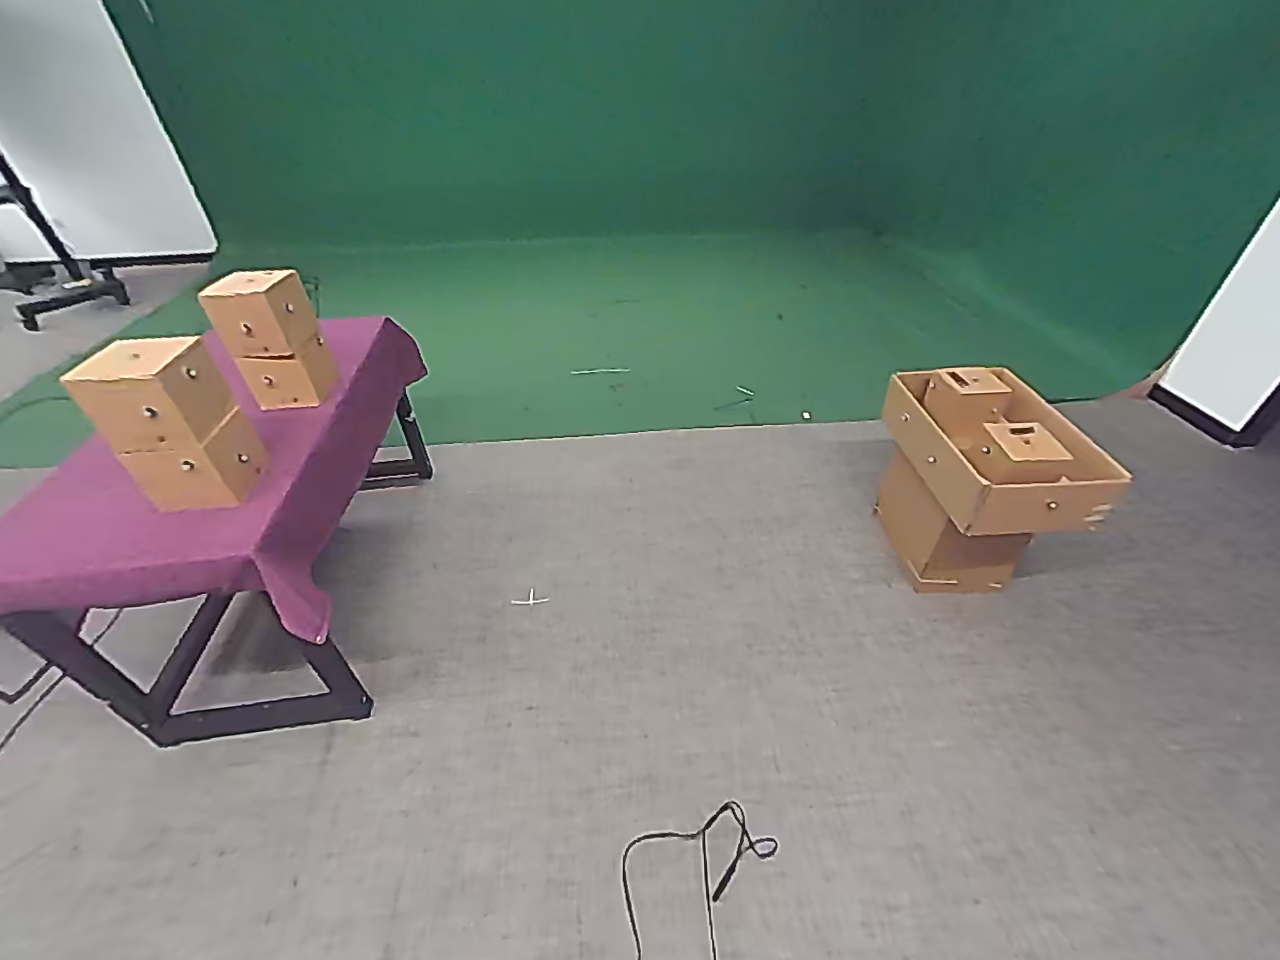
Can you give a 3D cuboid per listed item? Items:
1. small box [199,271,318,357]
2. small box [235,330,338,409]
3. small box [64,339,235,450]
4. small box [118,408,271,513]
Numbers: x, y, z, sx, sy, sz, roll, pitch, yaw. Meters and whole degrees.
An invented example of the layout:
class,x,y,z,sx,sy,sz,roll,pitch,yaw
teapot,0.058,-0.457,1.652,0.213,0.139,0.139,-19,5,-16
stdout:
class,x,y,z,sx,sy,sz,roll,pitch,yaw
small box,-0.994,-0.436,1.432,0.168,0.176,0.179,-2,40,0
small box,-0.994,-0.313,1.542,0.168,0.176,0.179,-5,39,-4
small box,-0.984,-0.171,1.111,0.168,0.176,0.179,-4,39,-4
small box,-0.978,-0.042,1.211,0.179,0.176,0.168,-4,39,-2
